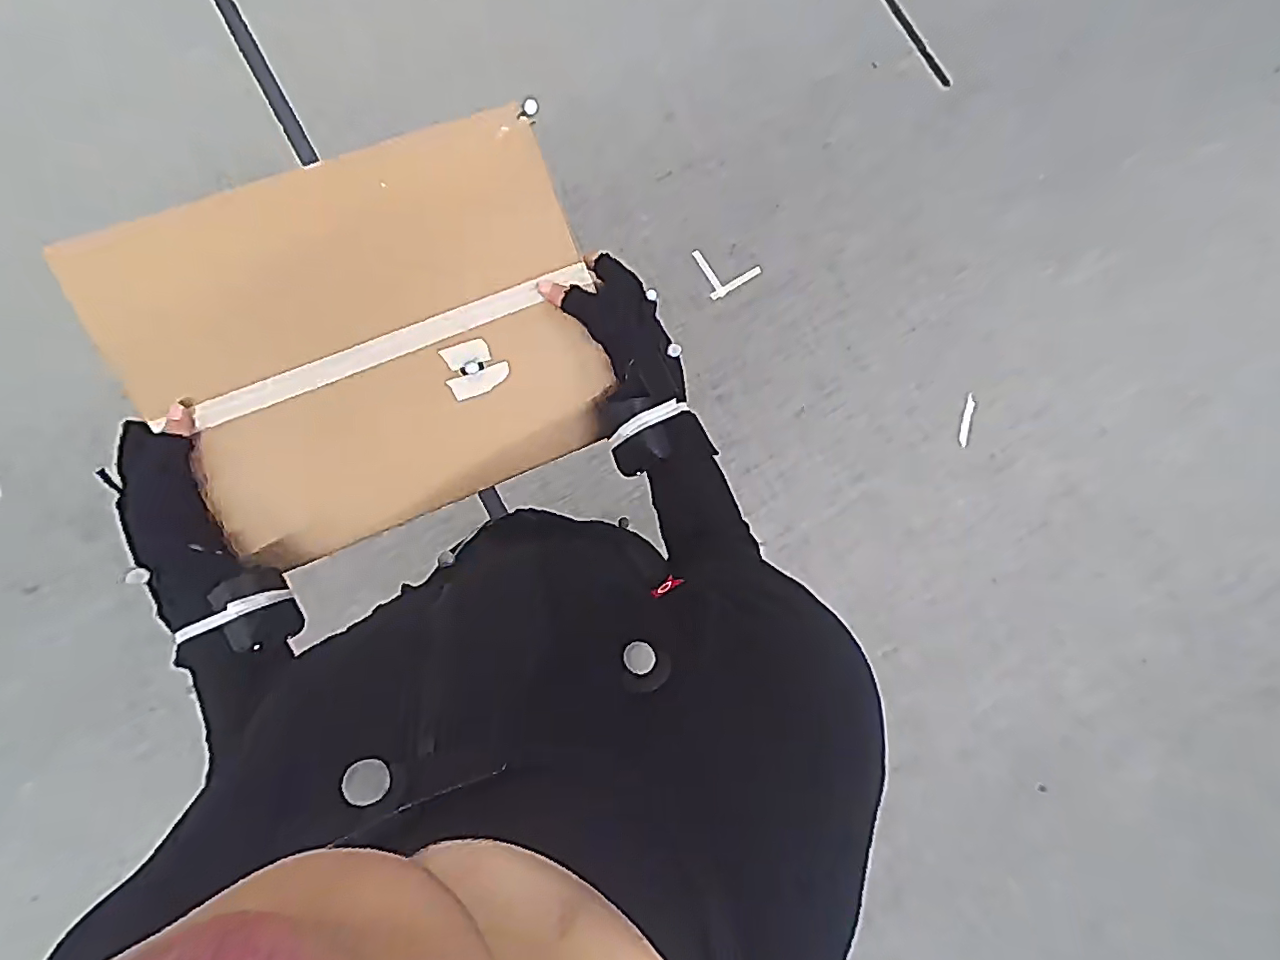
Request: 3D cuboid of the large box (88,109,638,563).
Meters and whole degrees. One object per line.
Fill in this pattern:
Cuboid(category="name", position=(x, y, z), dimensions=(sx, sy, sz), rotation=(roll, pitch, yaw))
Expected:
Cuboid(category="large box", position=(-0.267, -0.158, 0.656), dimensions=(0.408, 0.320, 0.320), rotation=(-23, 106, -9))
